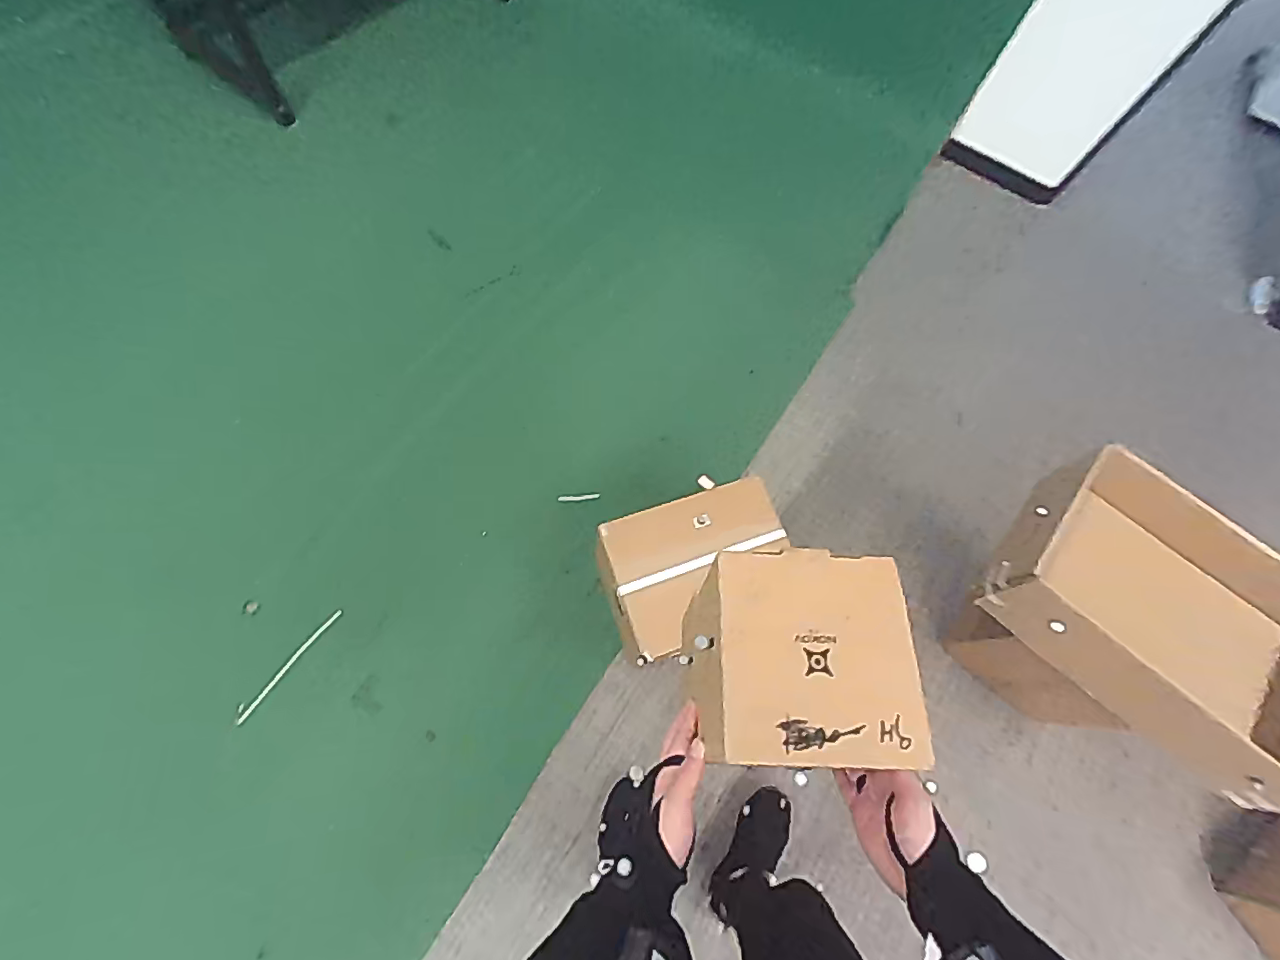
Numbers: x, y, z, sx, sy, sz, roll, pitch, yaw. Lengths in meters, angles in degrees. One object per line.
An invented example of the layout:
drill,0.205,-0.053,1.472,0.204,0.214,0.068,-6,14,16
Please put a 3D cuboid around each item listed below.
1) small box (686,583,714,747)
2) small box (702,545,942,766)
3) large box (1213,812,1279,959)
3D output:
small box,0.148,0.240,0.679,0.168,0.176,0.179,3,64,0
small box,0.153,0.177,0.528,0.168,0.176,0.179,2,63,-1
large box,1.663,1.043,1.191,0.320,0.320,0.408,-29,74,-16
